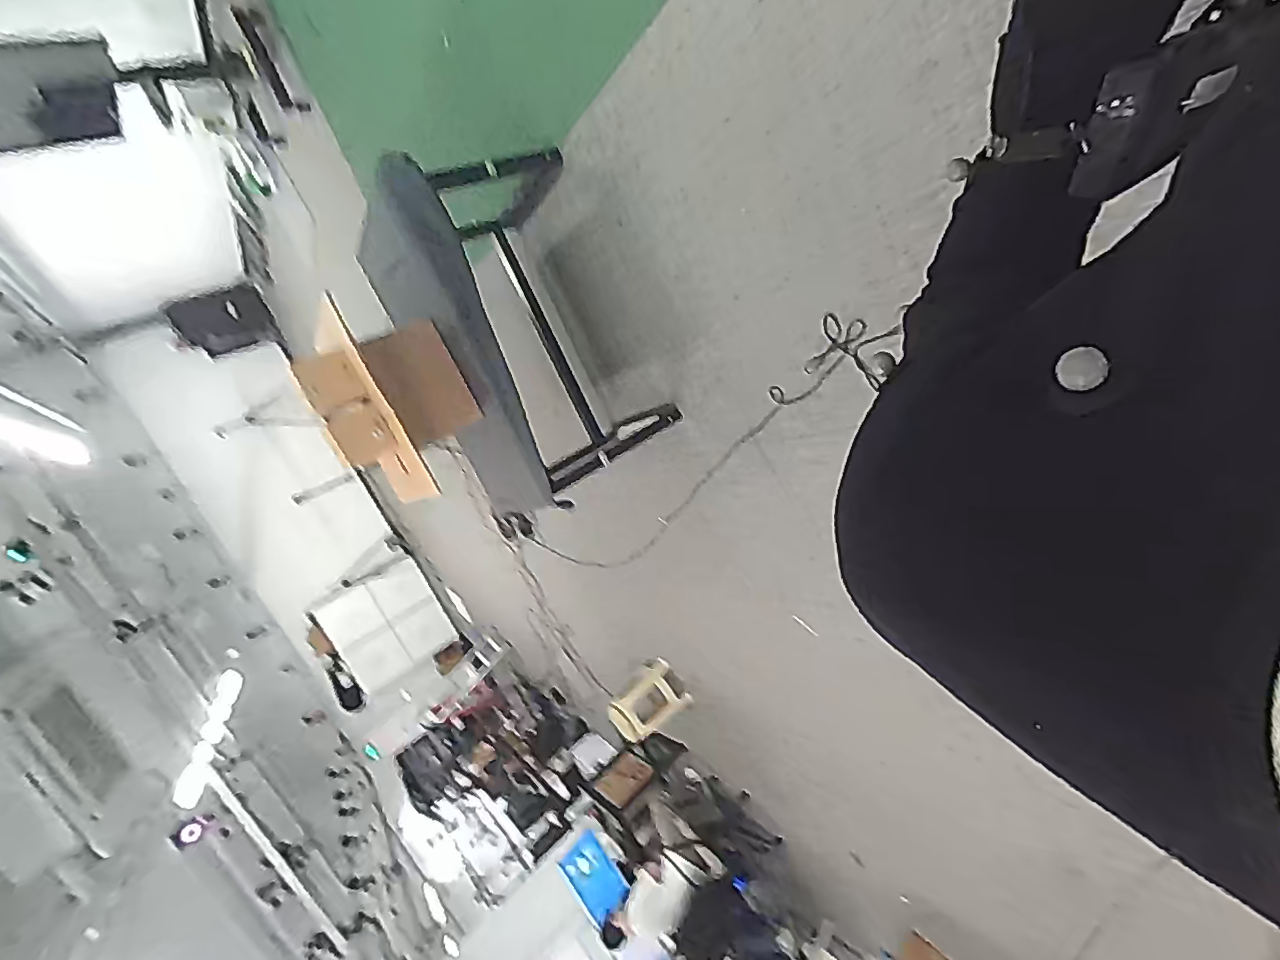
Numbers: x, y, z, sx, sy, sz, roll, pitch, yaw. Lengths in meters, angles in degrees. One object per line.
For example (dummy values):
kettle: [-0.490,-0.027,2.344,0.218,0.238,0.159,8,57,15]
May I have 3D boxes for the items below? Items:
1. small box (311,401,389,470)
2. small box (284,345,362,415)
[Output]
small box: [-0.973,-0.150,1.817,0.179,0.176,0.168,-9,111,54]
small box: [-1.045,-0.330,1.787,0.179,0.176,0.168,-6,110,56]
